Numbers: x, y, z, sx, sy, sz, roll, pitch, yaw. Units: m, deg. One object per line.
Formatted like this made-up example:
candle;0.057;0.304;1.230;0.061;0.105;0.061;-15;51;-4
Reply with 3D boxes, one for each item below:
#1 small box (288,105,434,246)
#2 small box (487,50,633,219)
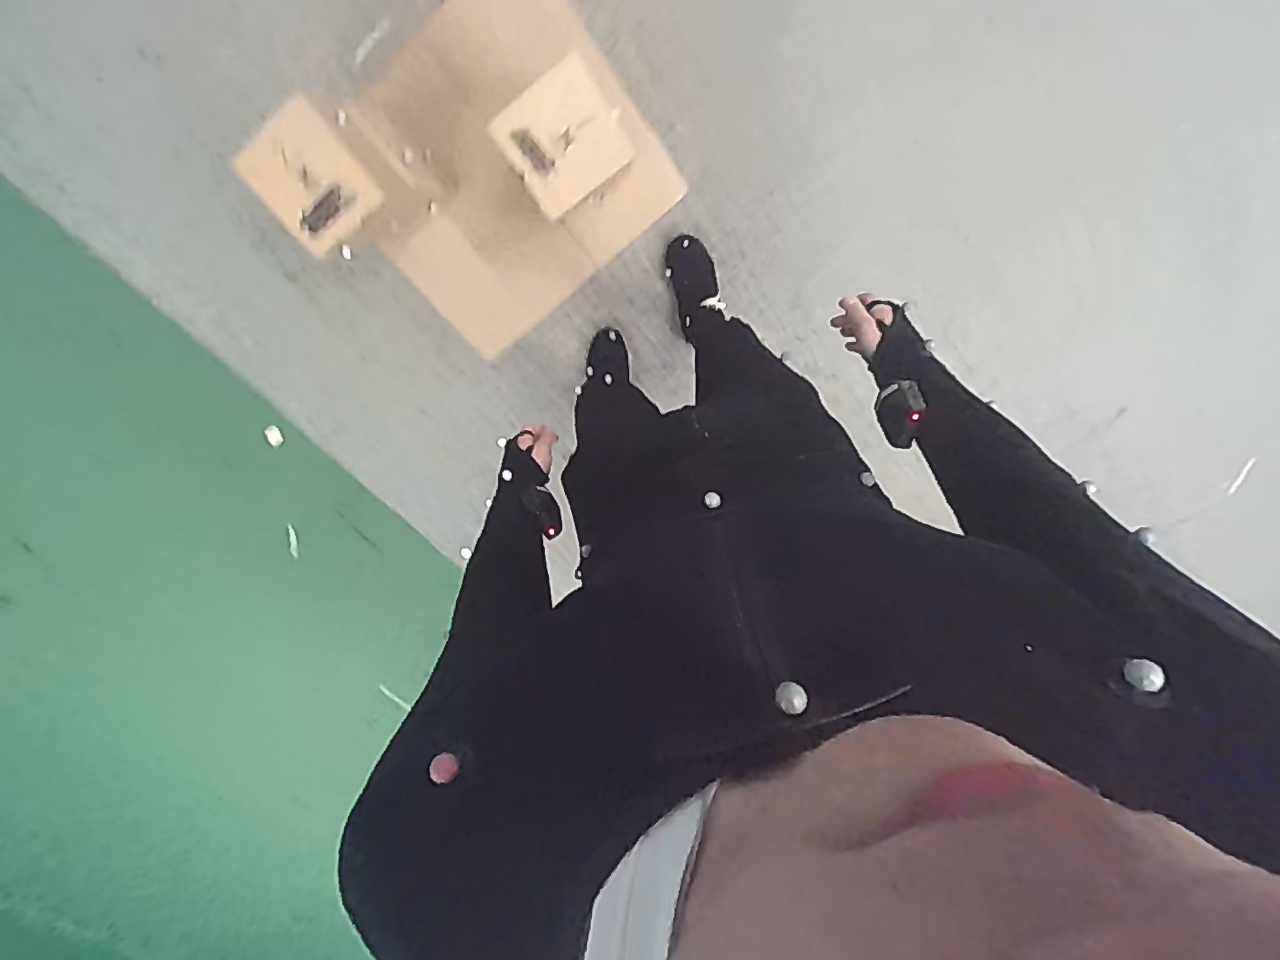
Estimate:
small box;-0.536;-0.597;1.071;0.179;0.176;0.168;-34;114;15
small box;-0.125;-0.571;0.918;0.179;0.176;0.168;-32;115;13
